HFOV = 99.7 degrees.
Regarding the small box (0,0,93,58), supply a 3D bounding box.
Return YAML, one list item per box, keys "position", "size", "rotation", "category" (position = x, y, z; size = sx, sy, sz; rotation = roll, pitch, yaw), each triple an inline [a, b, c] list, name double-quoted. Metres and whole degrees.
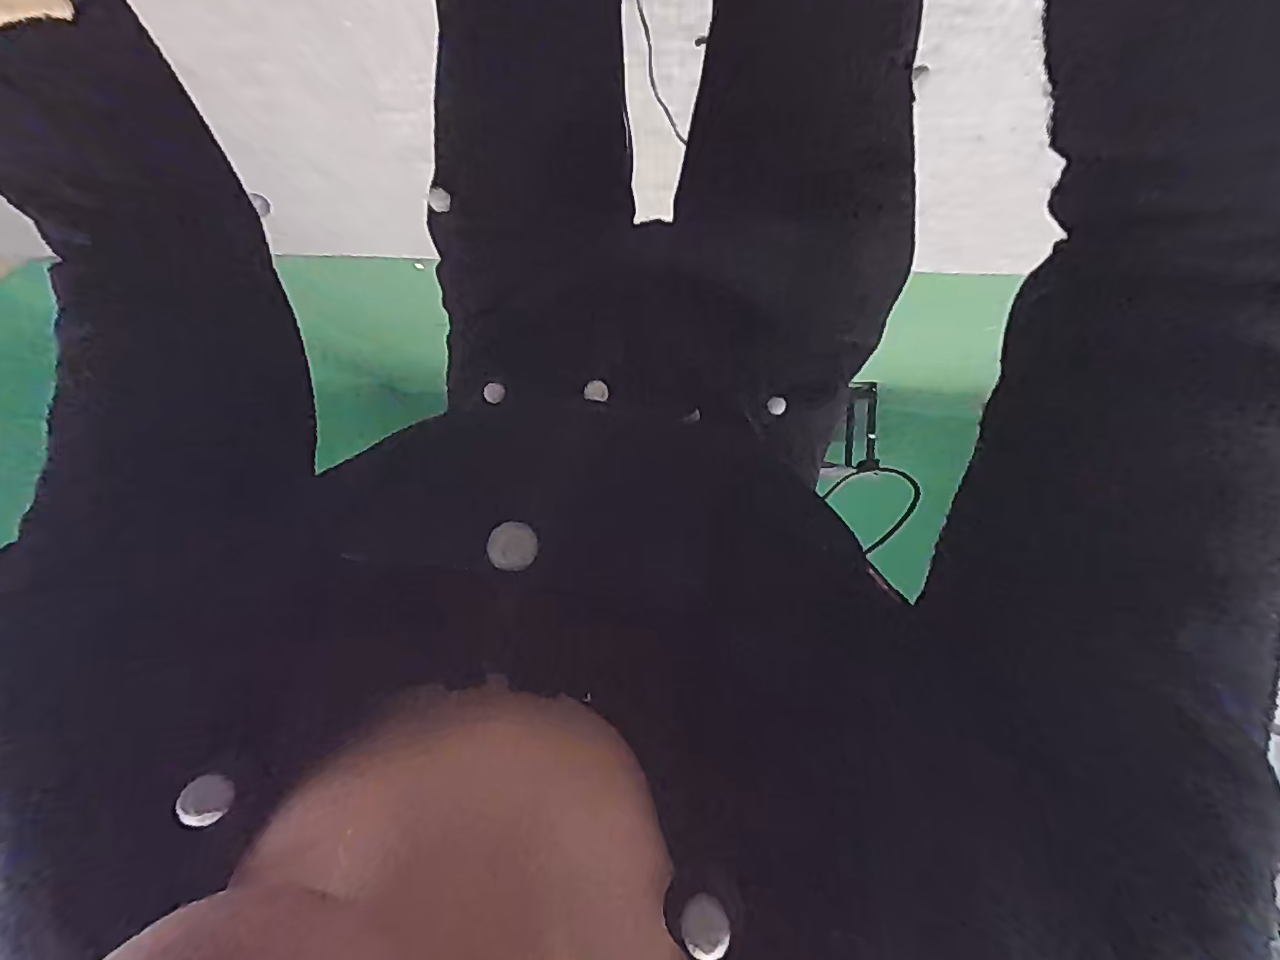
- position: [-0.208, -0.131, 0.049]
  size: [0.176, 0.168, 0.179]
  rotation: [-32, -134, -20]
  category: "small box"
